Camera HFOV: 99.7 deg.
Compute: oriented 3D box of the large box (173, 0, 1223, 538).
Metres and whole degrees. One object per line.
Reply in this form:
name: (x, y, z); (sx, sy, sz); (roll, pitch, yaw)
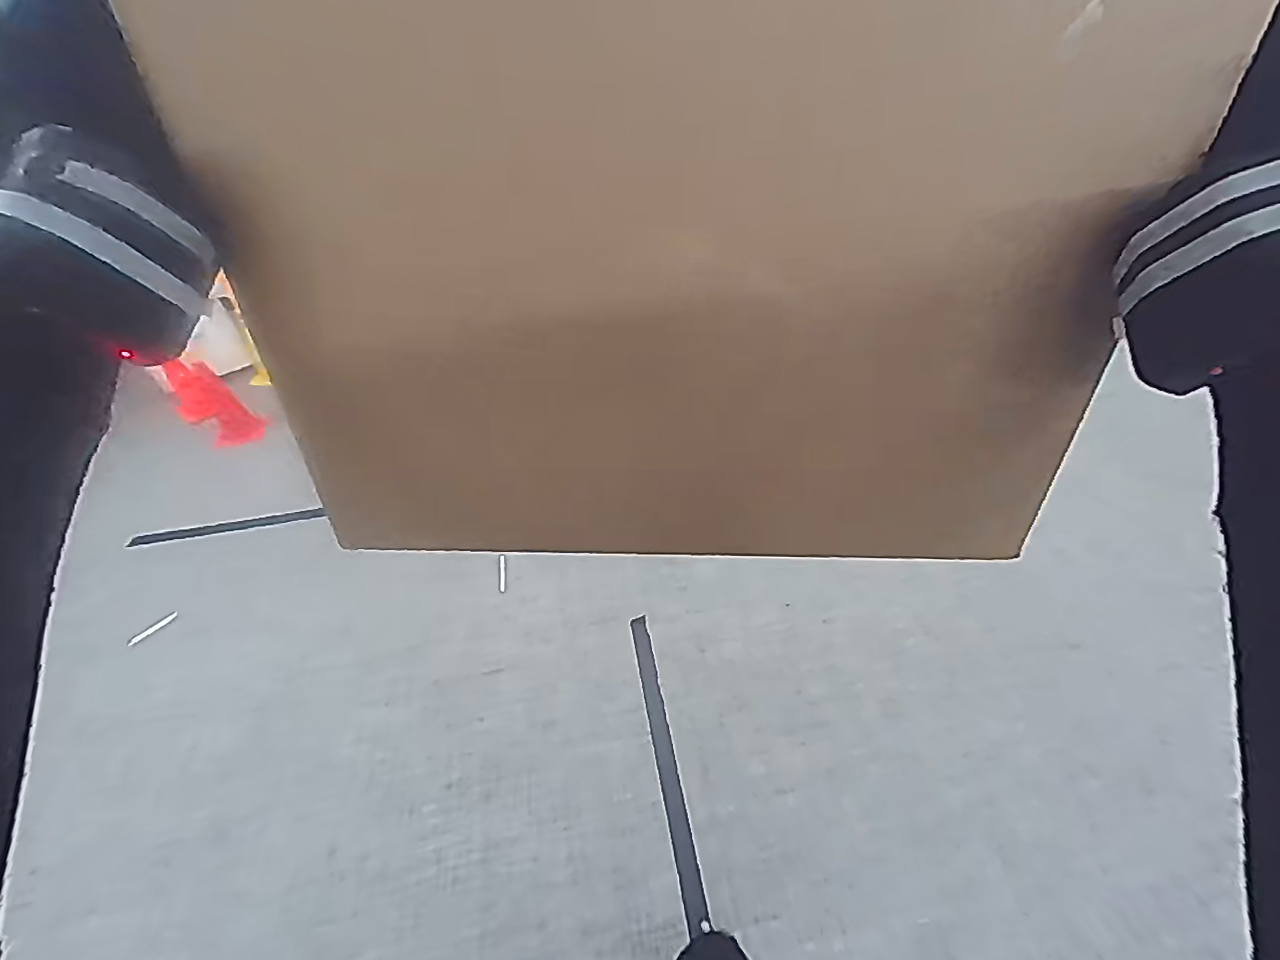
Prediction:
large box: (0.022, -0.169, 0.380); (0.408, 0.320, 0.320); (1, 33, 2)
